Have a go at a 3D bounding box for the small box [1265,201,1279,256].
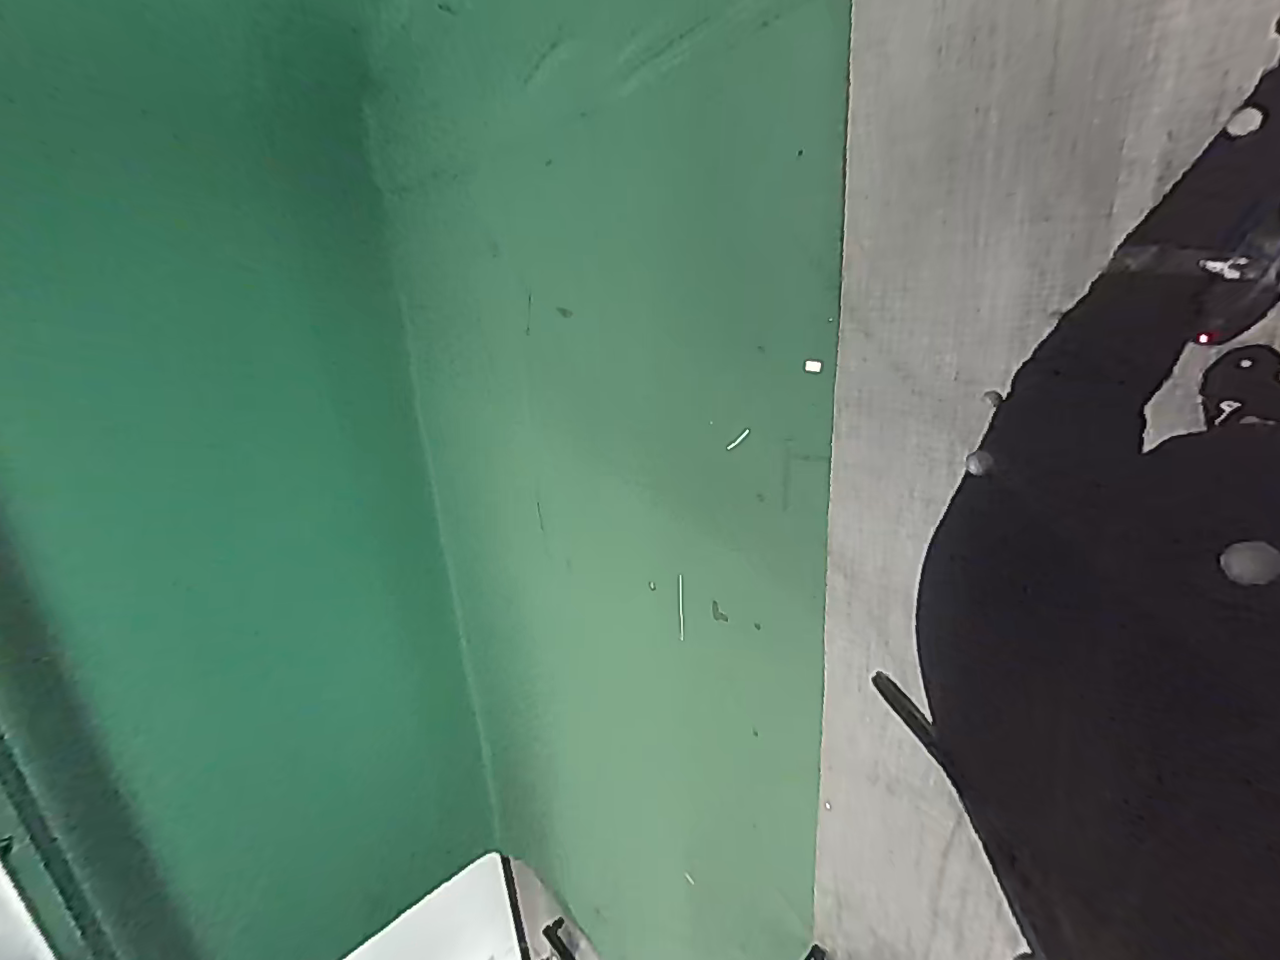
[{"bbox_3d":[1.060,-0.419,0.782,0.179,0.176,0.168,17,117,46],"label":"small box"}]
